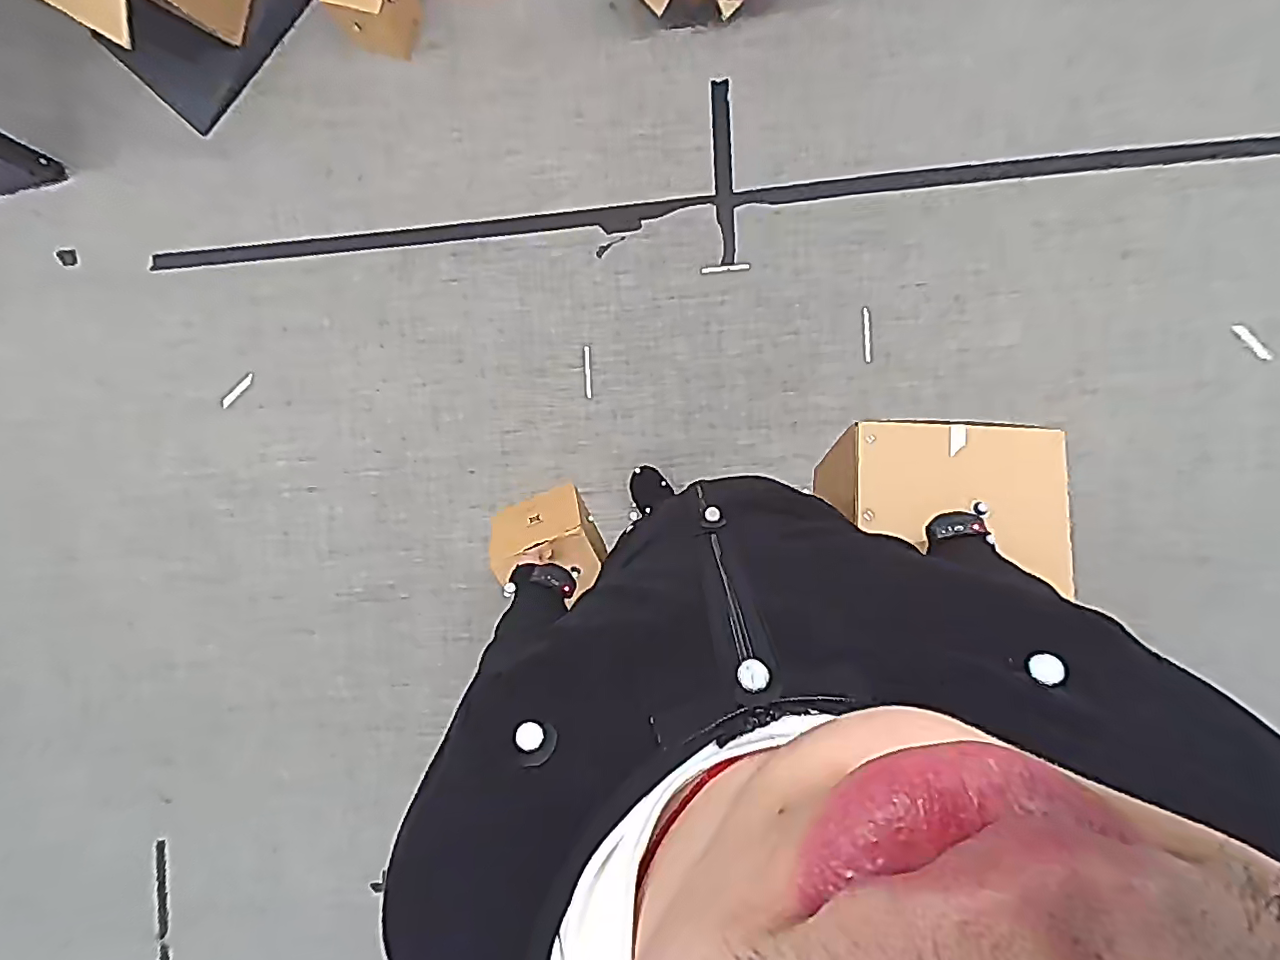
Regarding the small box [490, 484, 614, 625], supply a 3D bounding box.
[{"bbox_3d":[-0.158,0.141,0.997,0.168,0.179,0.176,-23,117,0],"label":"small box"}]
